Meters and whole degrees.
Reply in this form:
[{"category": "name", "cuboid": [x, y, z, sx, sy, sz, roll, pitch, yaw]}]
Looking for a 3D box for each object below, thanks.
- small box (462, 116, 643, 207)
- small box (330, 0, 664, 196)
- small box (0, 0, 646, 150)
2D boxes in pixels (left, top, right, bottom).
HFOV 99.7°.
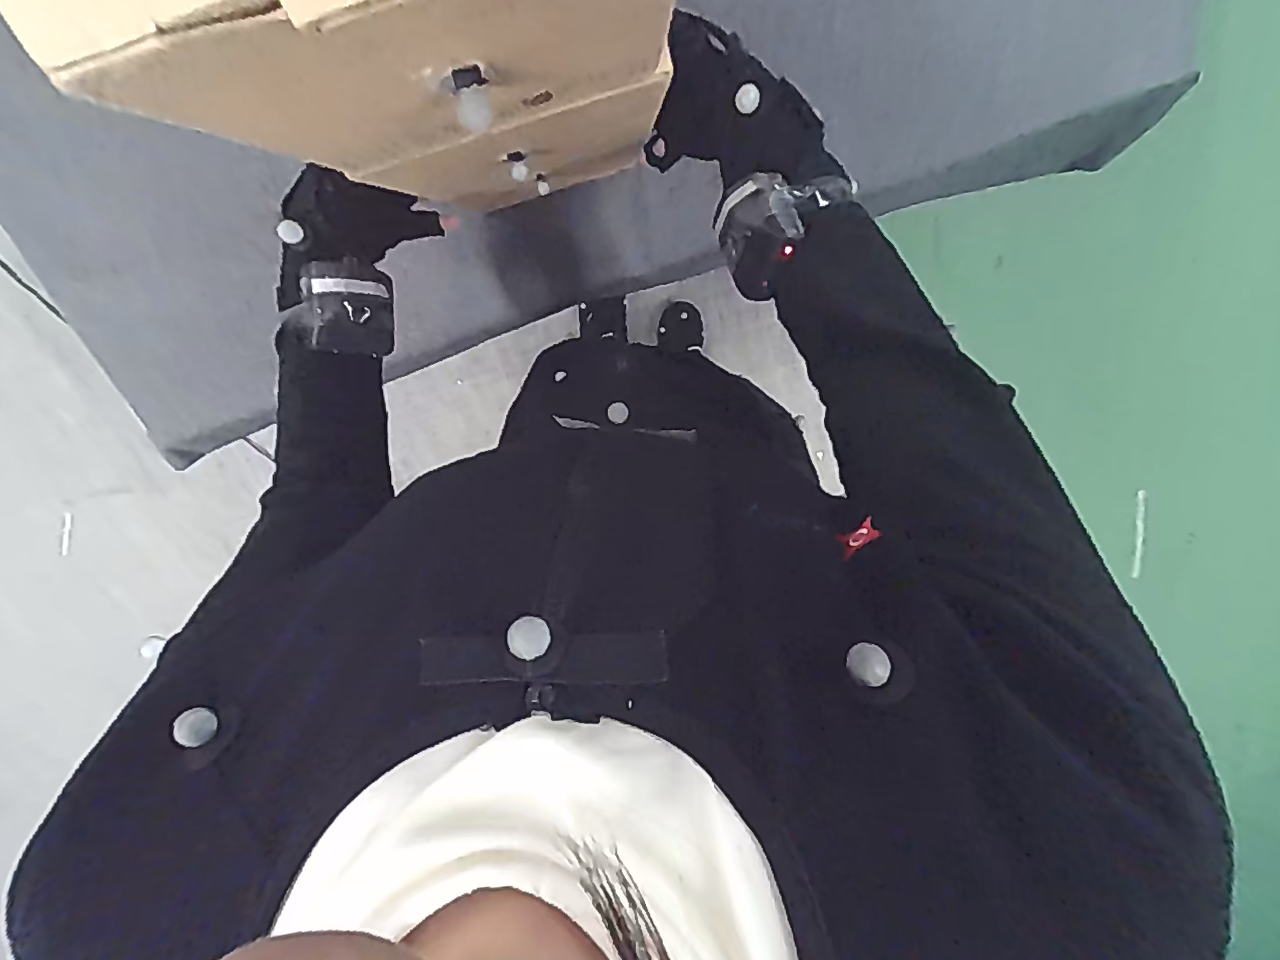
[{"category": "small box", "cuboid": [-0.105, -0.349, 0.463, 0.179, 0.176, 0.168, -17, 113, 3]}, {"category": "small box", "cuboid": [-0.095, -0.281, 0.314, 0.179, 0.176, 0.168, -15, 113, 6]}, {"category": "small box", "cuboid": [-0.095, -0.221, 0.162, 0.168, 0.176, 0.179, -17, 113, 5]}]
